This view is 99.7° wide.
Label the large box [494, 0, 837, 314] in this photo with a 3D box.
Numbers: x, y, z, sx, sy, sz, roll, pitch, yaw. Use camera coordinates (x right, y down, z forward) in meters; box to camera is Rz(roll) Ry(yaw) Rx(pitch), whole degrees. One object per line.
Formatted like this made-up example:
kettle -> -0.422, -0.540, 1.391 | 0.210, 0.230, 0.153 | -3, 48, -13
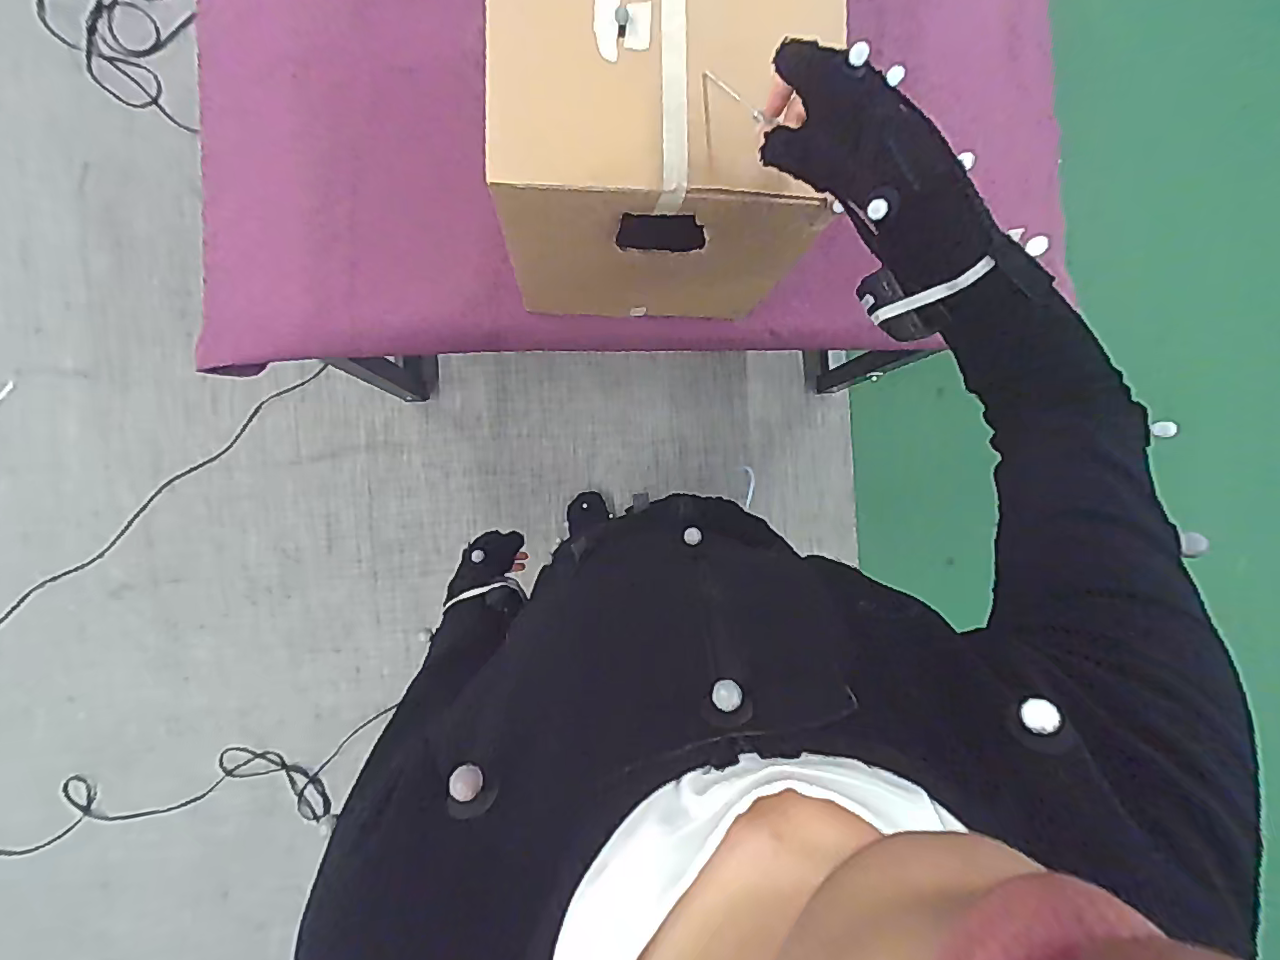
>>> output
large box -> 0.009, -0.443, 0.628 | 0.320, 0.320, 0.408 | 0, 89, -6
